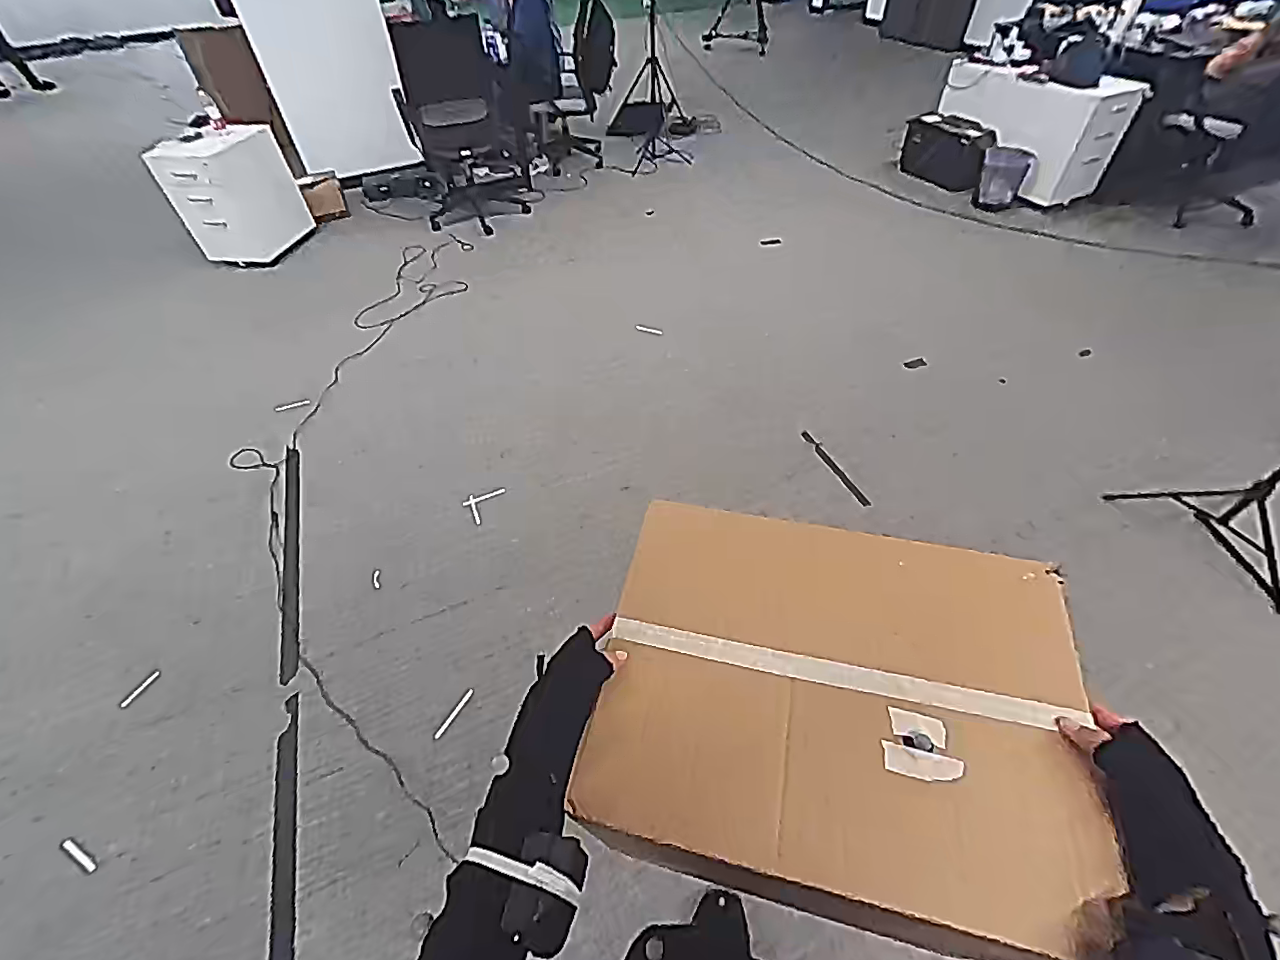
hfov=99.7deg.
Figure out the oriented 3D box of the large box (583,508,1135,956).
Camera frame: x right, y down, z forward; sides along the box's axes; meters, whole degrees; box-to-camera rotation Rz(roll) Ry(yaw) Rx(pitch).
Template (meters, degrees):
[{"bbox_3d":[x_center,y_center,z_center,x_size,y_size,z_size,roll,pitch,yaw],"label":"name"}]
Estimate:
[{"bbox_3d":[0.186,0.268,0.605,0.408,0.320,0.320,9,53,12],"label":"large box"}]
